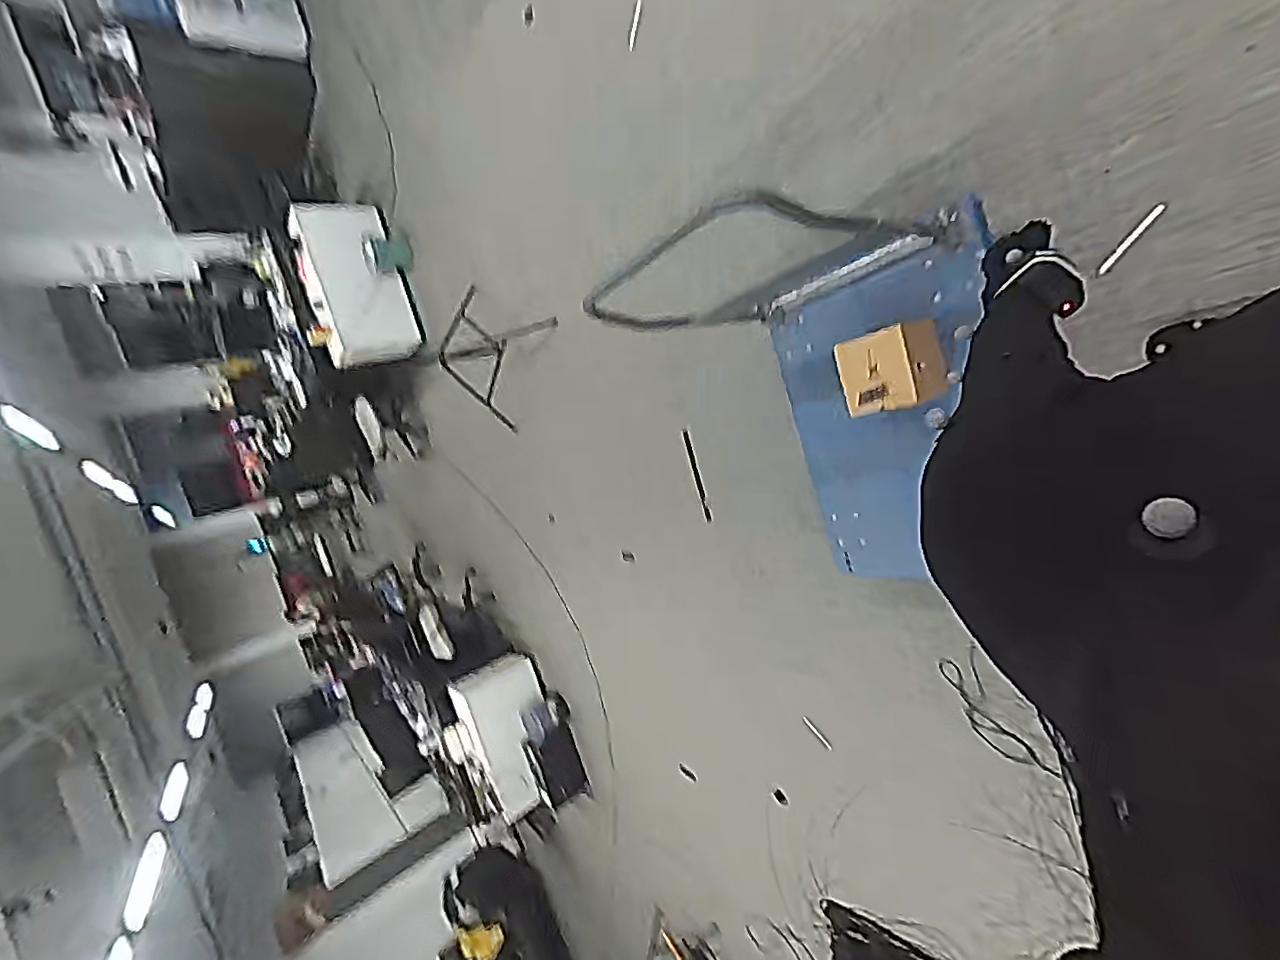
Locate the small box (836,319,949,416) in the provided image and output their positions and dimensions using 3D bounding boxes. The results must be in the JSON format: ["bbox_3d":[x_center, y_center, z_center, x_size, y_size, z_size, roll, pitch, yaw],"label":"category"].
[{"bbox_3d":[0.595,-0.263,1.268,0.168,0.176,0.179,-10,98,54],"label":"small box"}]
